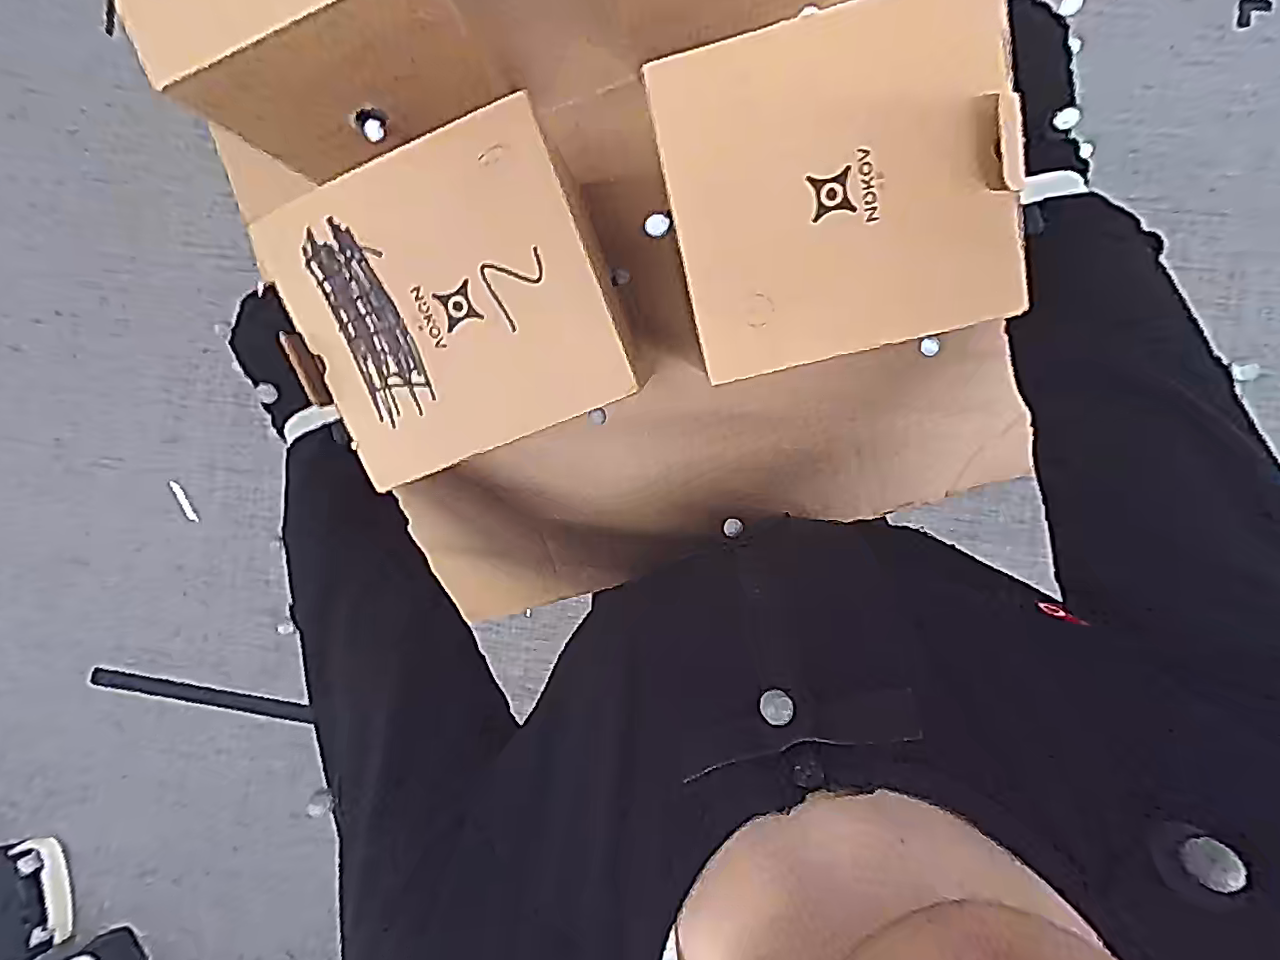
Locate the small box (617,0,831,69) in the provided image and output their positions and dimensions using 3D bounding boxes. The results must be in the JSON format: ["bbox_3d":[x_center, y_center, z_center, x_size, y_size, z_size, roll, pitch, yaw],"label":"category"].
[{"bbox_3d":[0.052,-0.399,0.320,0.179,0.176,0.168,-15,97,8],"label":"small box"}]

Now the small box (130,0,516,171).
[{"bbox_3d":[-0.201,-0.335,0.355,0.168,0.176,0.179,-16,96,7],"label":"small box"}]
